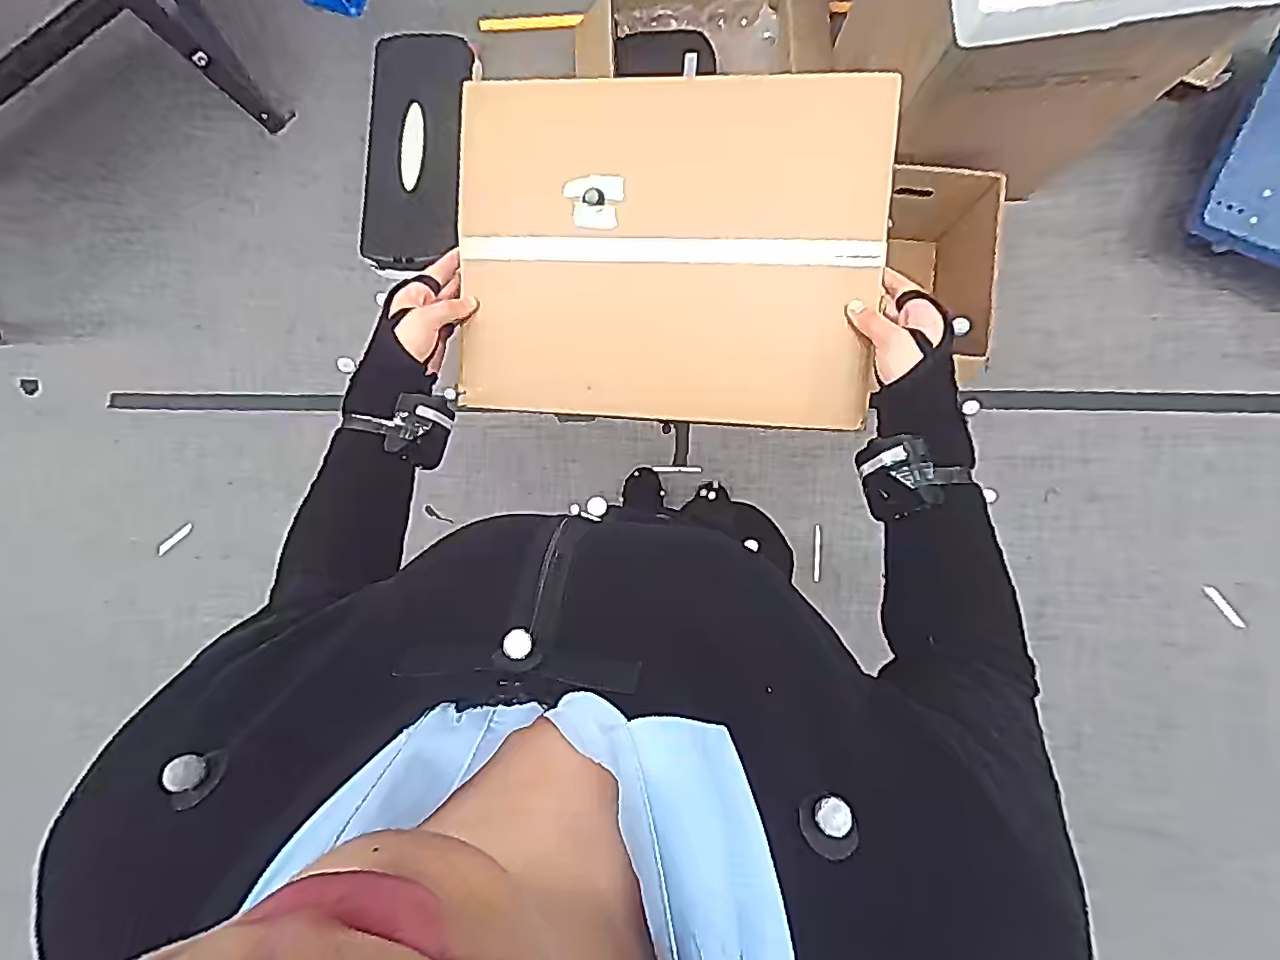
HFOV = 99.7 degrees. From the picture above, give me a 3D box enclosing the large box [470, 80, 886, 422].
[{"bbox_3d":[0.045,-0.233,0.676,0.408,0.320,0.320,4,95,8],"label":"large box"}]
